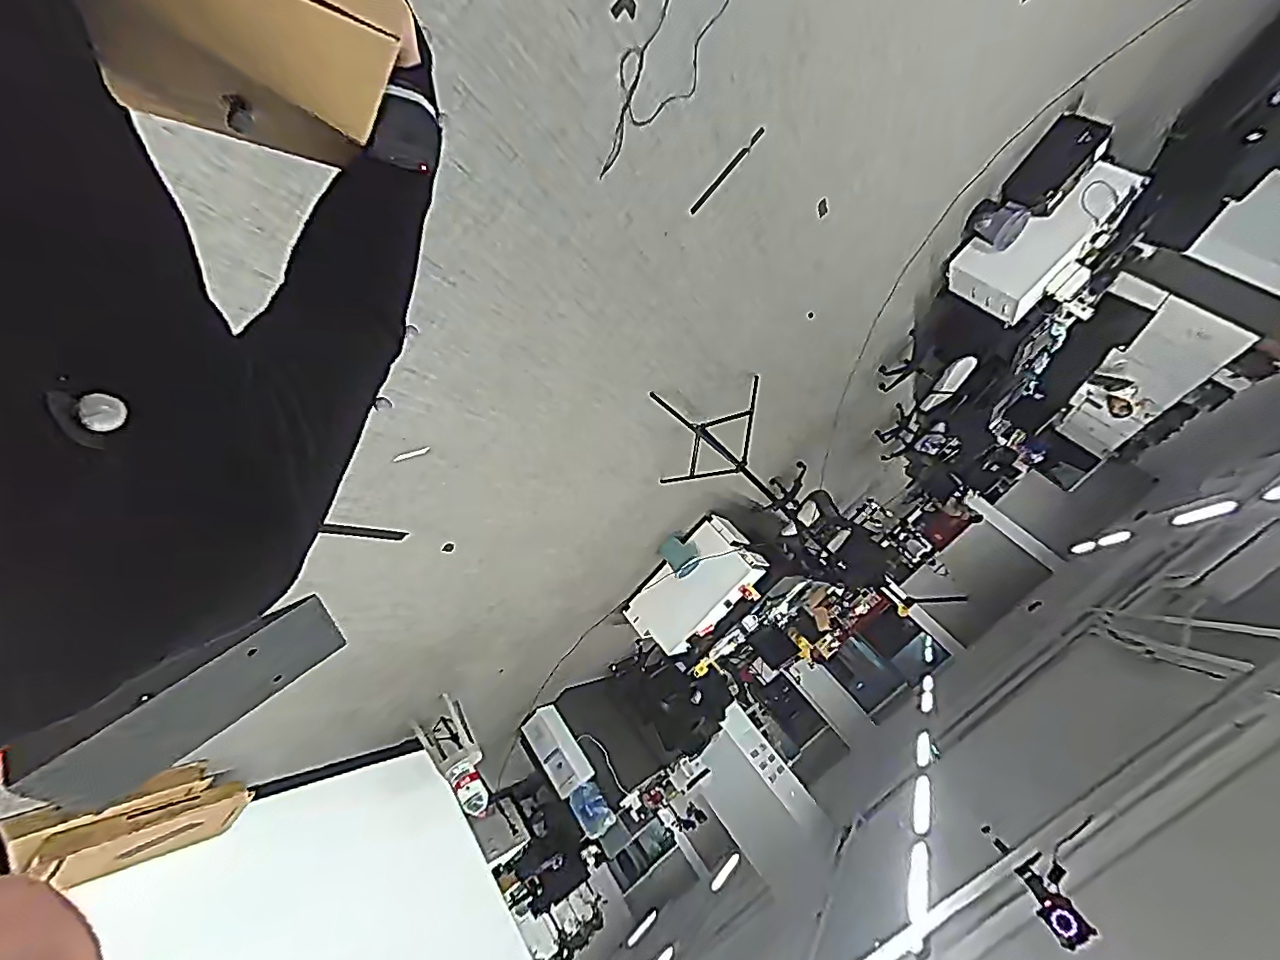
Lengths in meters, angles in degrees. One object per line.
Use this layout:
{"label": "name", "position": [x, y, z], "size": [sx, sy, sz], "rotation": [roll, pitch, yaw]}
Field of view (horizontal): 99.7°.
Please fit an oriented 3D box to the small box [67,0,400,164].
{"label": "small box", "position": [-0.290, -0.368, 0.392], "size": [0.179, 0.168, 0.176], "rotation": [-2, 176, -38]}
